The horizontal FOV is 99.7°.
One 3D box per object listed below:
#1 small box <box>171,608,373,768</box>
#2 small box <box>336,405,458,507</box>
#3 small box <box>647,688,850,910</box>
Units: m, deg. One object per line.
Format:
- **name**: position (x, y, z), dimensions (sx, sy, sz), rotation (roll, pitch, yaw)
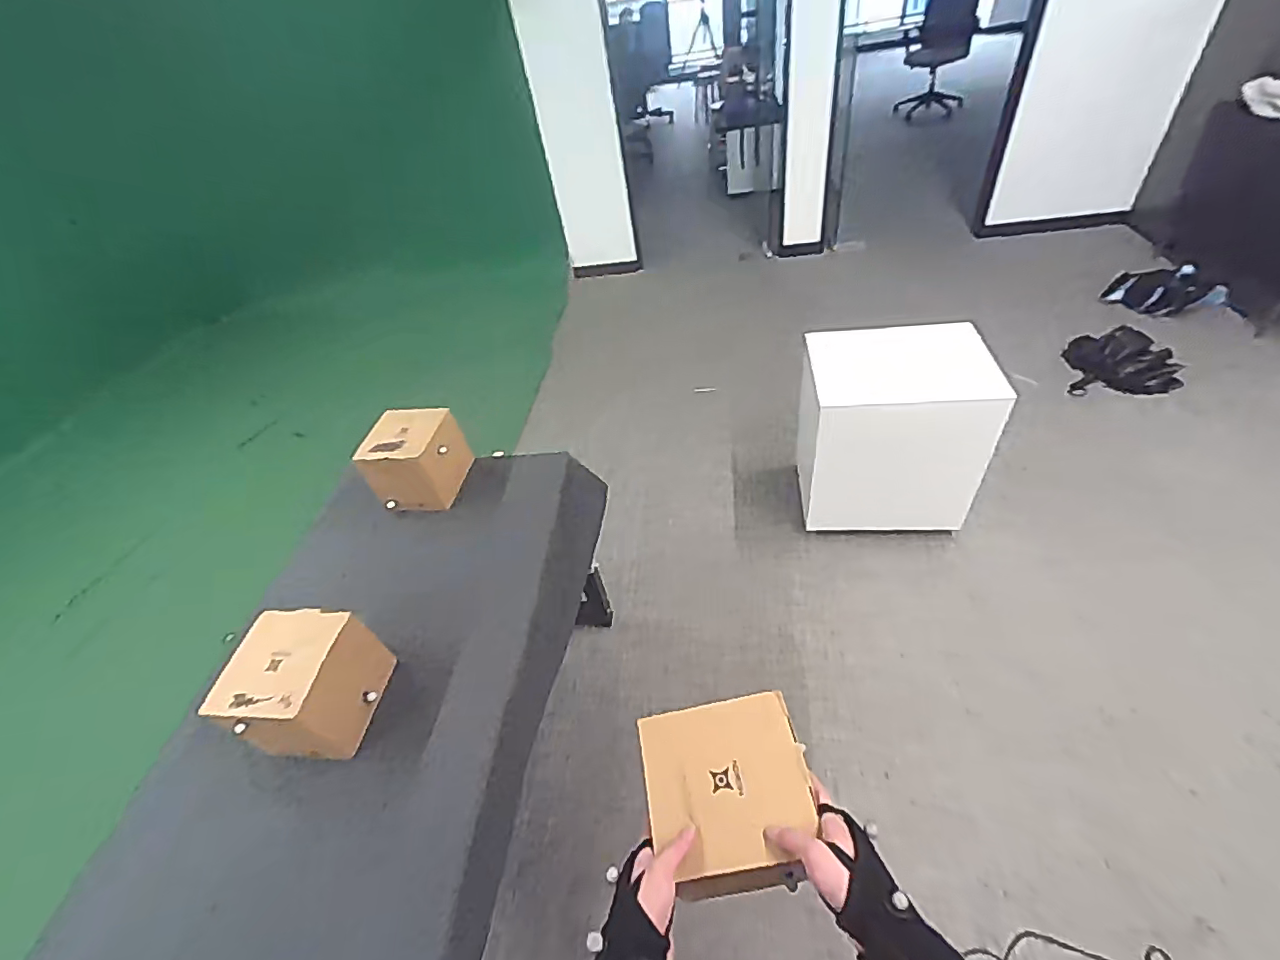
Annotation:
- **small box**: position (-0.549, 0.322, 0.844), dimensions (0.168, 0.176, 0.179), rotation (-1, 43, 8)
- **small box**: position (-0.539, -0.053, 1.231), dimensions (0.168, 0.176, 0.179), rotation (1, 44, 8)
- **small box**: position (0.116, 0.367, 0.620), dimensions (0.179, 0.176, 0.168), rotation (-14, 44, 2)
